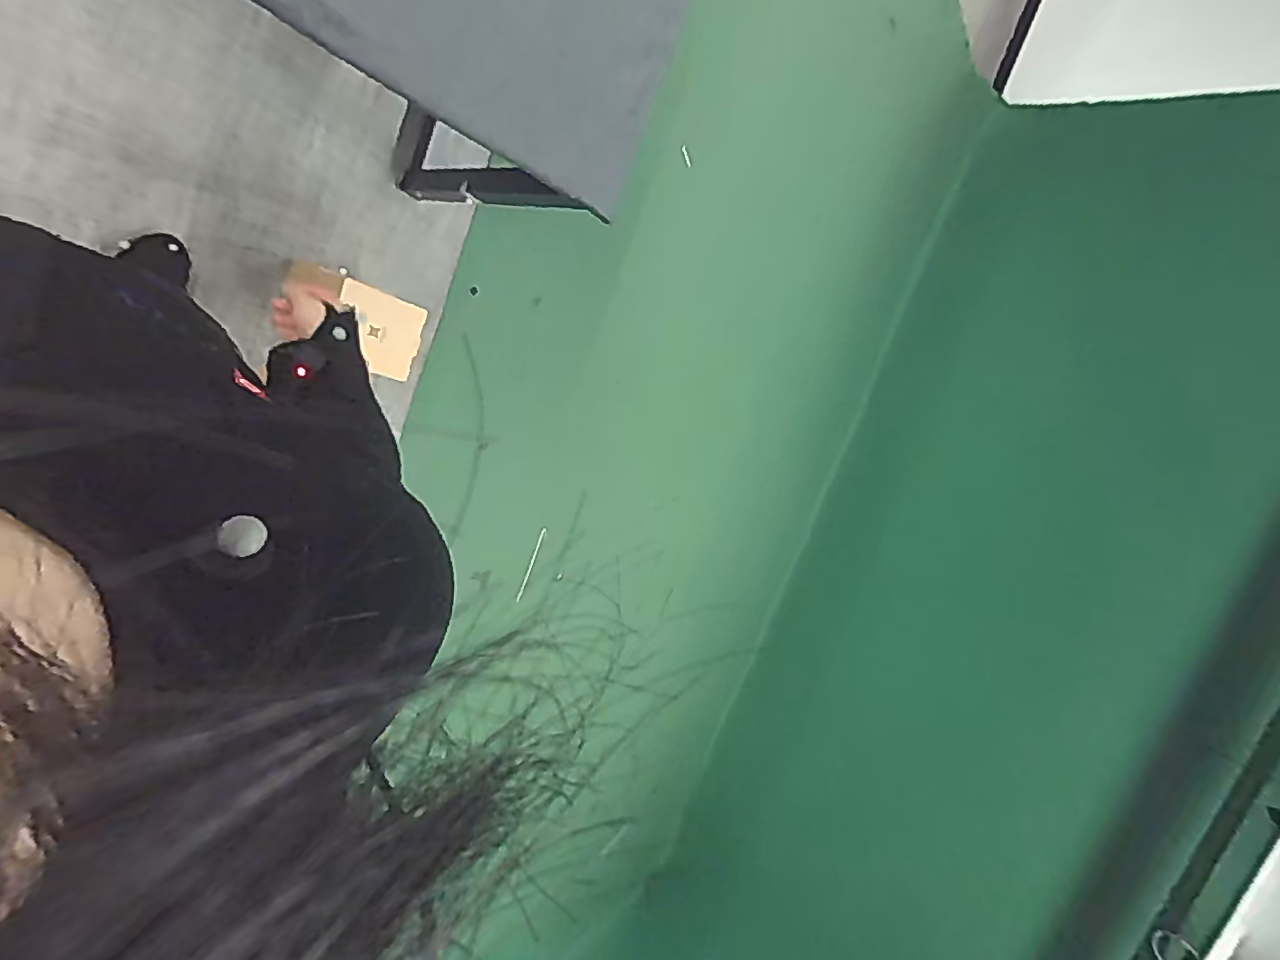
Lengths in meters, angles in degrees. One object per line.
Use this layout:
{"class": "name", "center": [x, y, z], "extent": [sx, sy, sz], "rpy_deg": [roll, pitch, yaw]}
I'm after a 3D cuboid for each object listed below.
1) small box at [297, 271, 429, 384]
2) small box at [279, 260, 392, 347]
{"class": "small box", "center": [-0.592, -0.326, 1.151], "extent": [0.179, 0.176, 0.168], "rpy_deg": [14, 101, -51]}
{"class": "small box", "center": [-0.708, -0.388, 1.250], "extent": [0.168, 0.176, 0.179], "rpy_deg": [11, 102, -50]}
